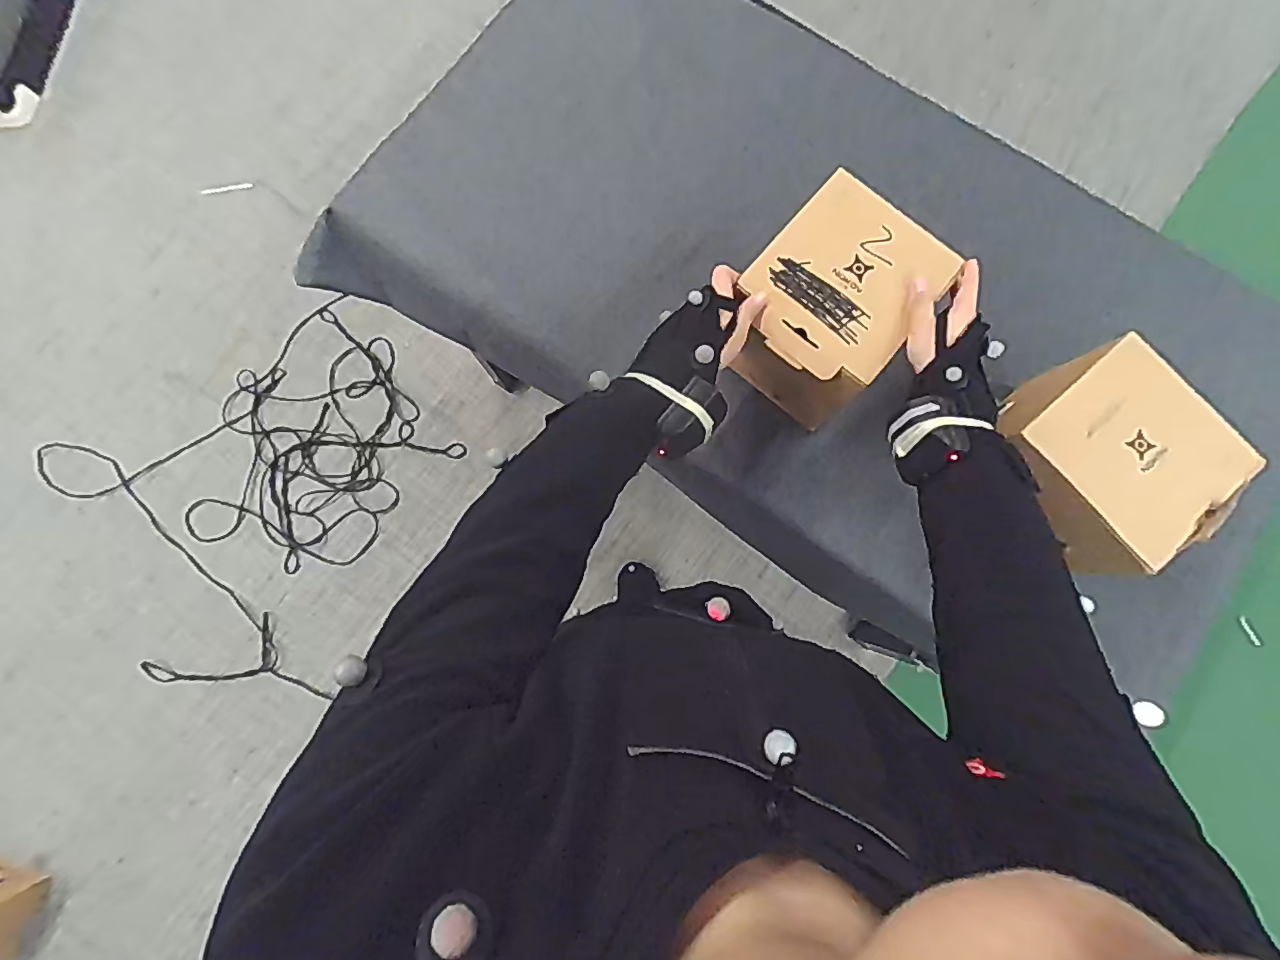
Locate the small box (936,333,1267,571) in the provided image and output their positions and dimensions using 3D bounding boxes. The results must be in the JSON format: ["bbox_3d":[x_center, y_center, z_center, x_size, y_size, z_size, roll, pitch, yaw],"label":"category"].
[{"bbox_3d":[0.479,-0.019,0.592,0.168,0.176,0.179,-39,82,-7],"label":"small box"}]

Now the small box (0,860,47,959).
[{"bbox_3d":[-1.459,0.970,1.160,0.168,0.176,0.179,16,80,2],"label":"small box"}]
